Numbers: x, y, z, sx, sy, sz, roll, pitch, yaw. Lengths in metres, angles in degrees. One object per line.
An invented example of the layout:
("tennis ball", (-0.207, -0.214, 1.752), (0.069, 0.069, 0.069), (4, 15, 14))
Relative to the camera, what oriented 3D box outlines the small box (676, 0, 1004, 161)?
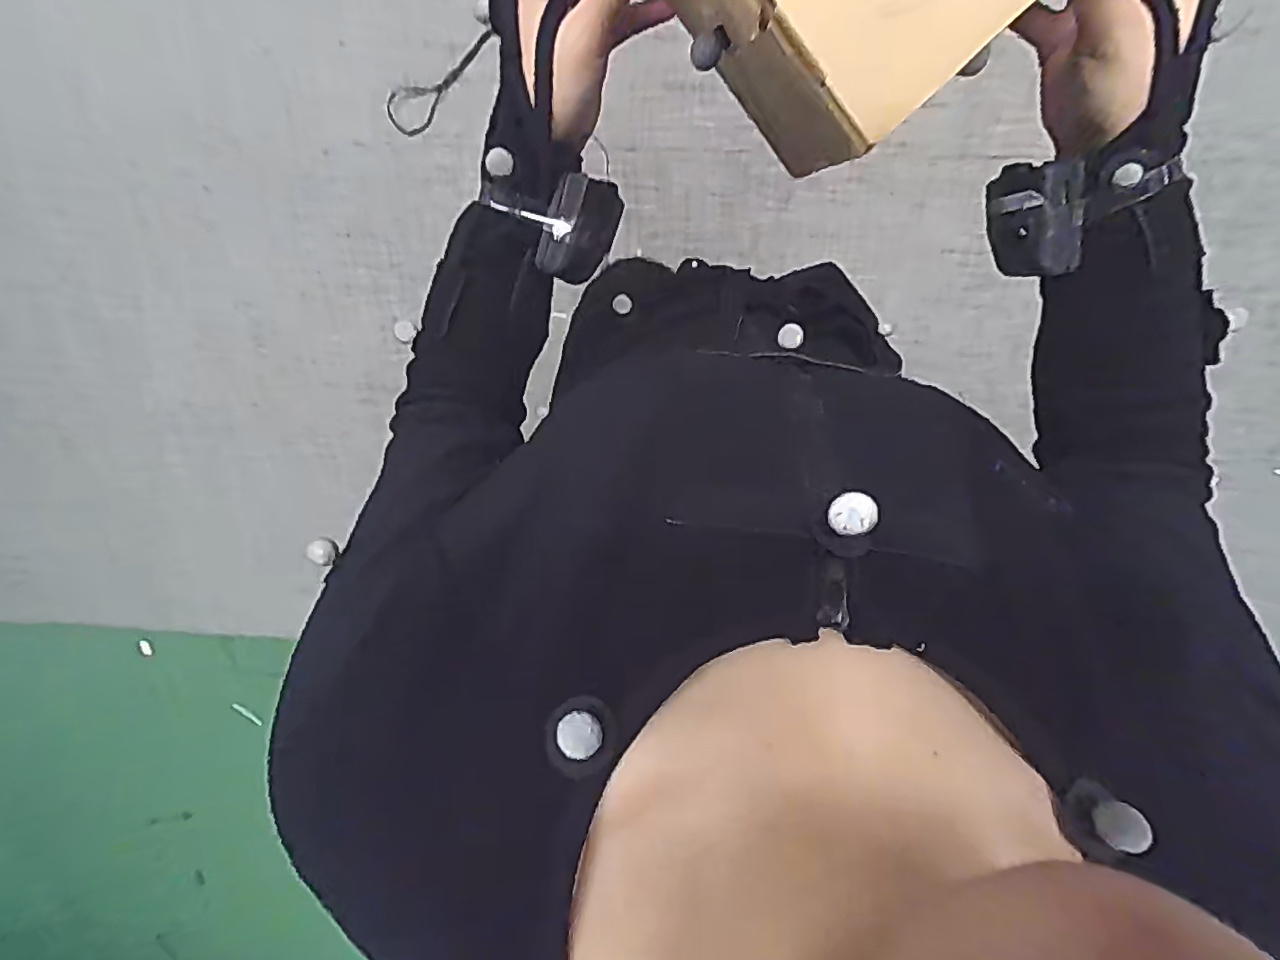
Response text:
("small box", (0.102, -0.275, 0.238), (0.179, 0.176, 0.168), (-39, 106, 22))
